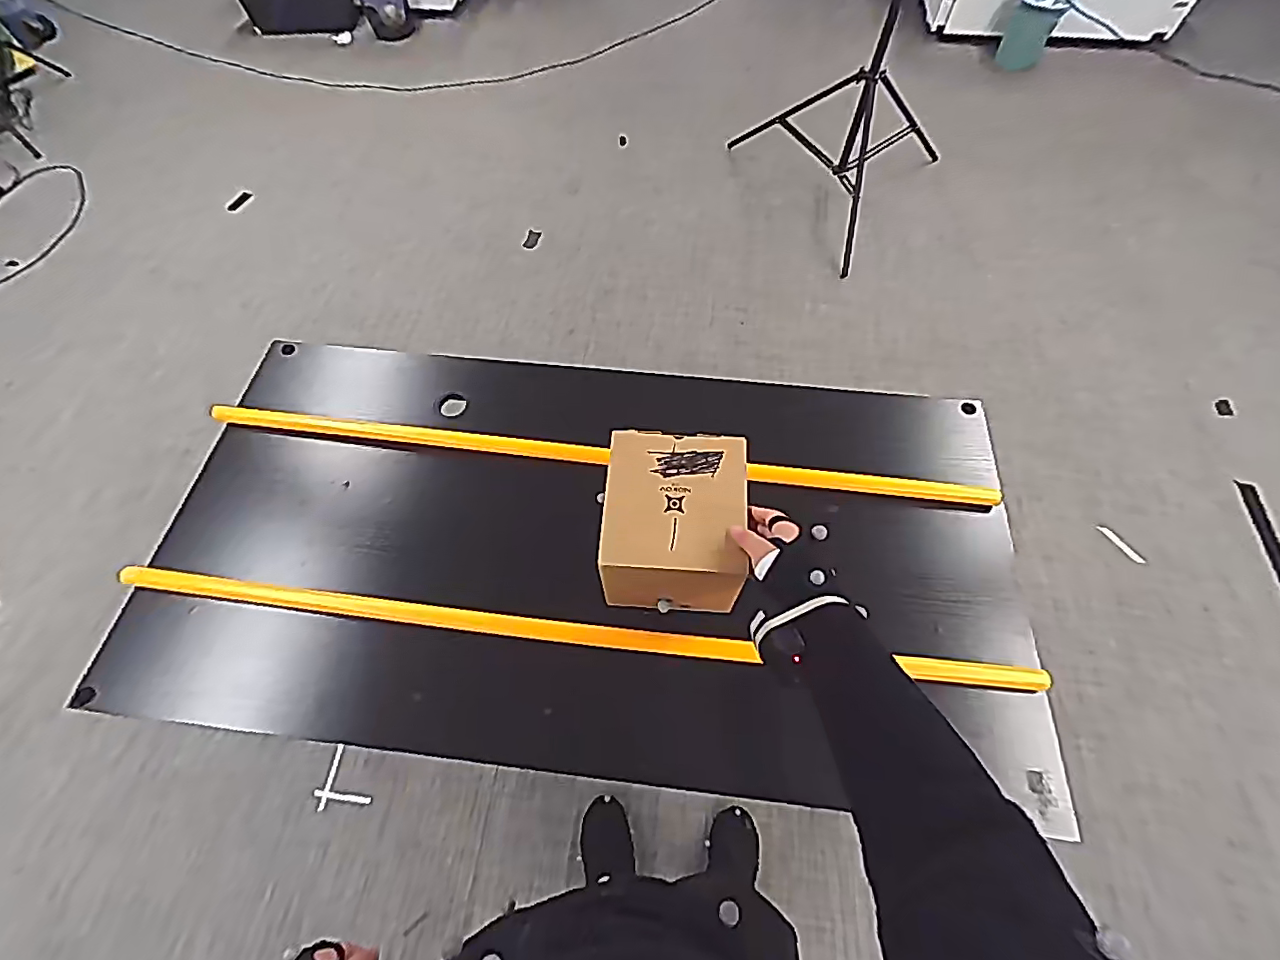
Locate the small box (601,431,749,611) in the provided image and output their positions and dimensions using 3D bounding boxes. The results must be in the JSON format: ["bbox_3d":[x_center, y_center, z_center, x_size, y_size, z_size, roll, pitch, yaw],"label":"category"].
[{"bbox_3d":[0.045,0.057,0.701,0.168,0.176,0.179,3,62,3],"label":"small box"}]
